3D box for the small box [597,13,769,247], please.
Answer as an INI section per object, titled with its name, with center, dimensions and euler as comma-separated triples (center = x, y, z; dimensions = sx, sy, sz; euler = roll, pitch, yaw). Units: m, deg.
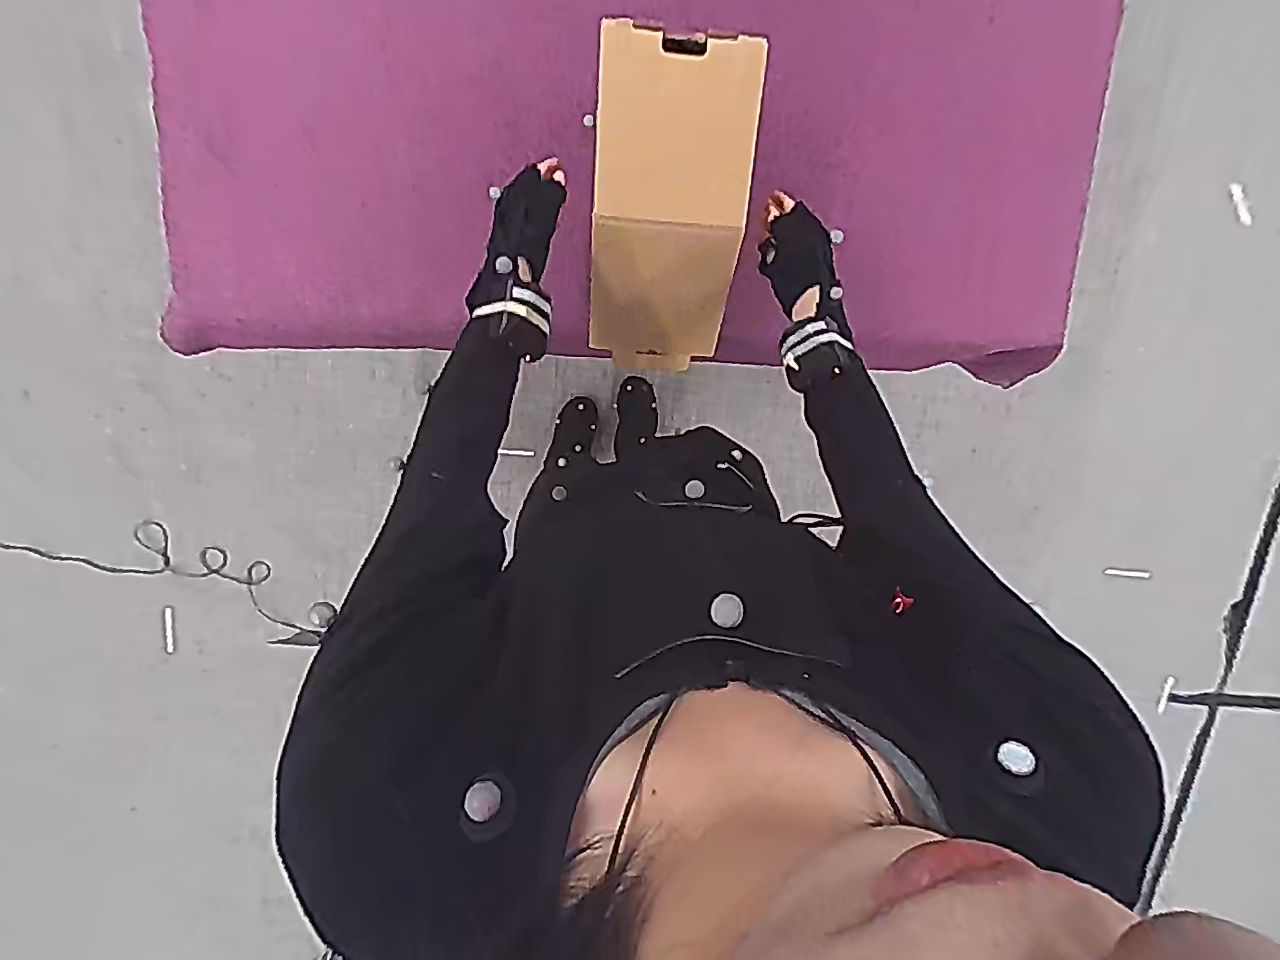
[small box]
center = 0.036, -0.382, 0.623
dimensions = 0.168, 0.176, 0.179
euler = 2, 105, -4
